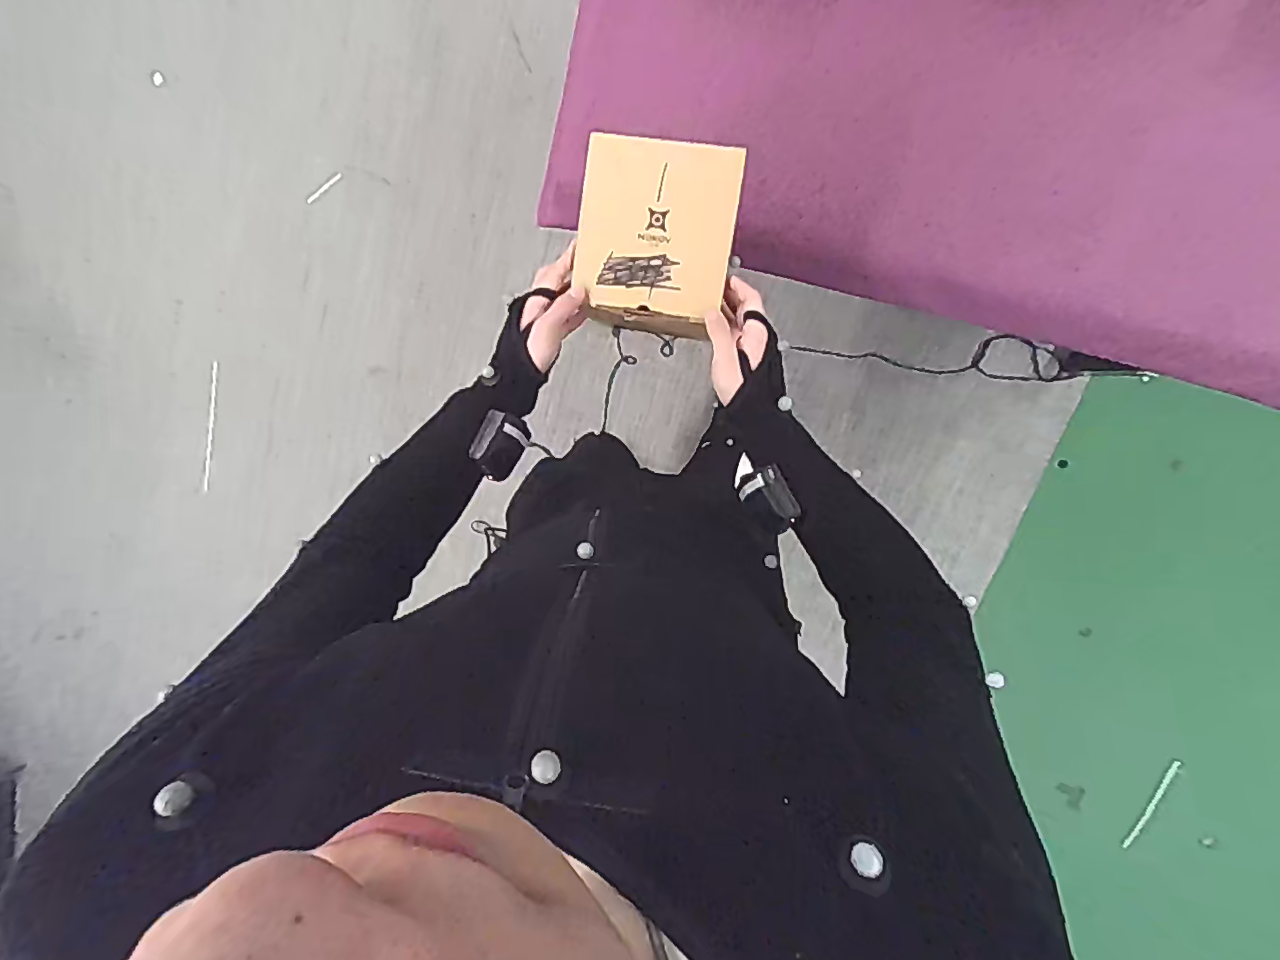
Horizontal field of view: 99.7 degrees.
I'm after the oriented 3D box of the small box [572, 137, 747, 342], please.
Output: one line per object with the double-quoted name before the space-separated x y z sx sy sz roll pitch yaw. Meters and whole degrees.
"small box" 0.027 -0.270 0.648 0.168 0.176 0.179 9 97 5
